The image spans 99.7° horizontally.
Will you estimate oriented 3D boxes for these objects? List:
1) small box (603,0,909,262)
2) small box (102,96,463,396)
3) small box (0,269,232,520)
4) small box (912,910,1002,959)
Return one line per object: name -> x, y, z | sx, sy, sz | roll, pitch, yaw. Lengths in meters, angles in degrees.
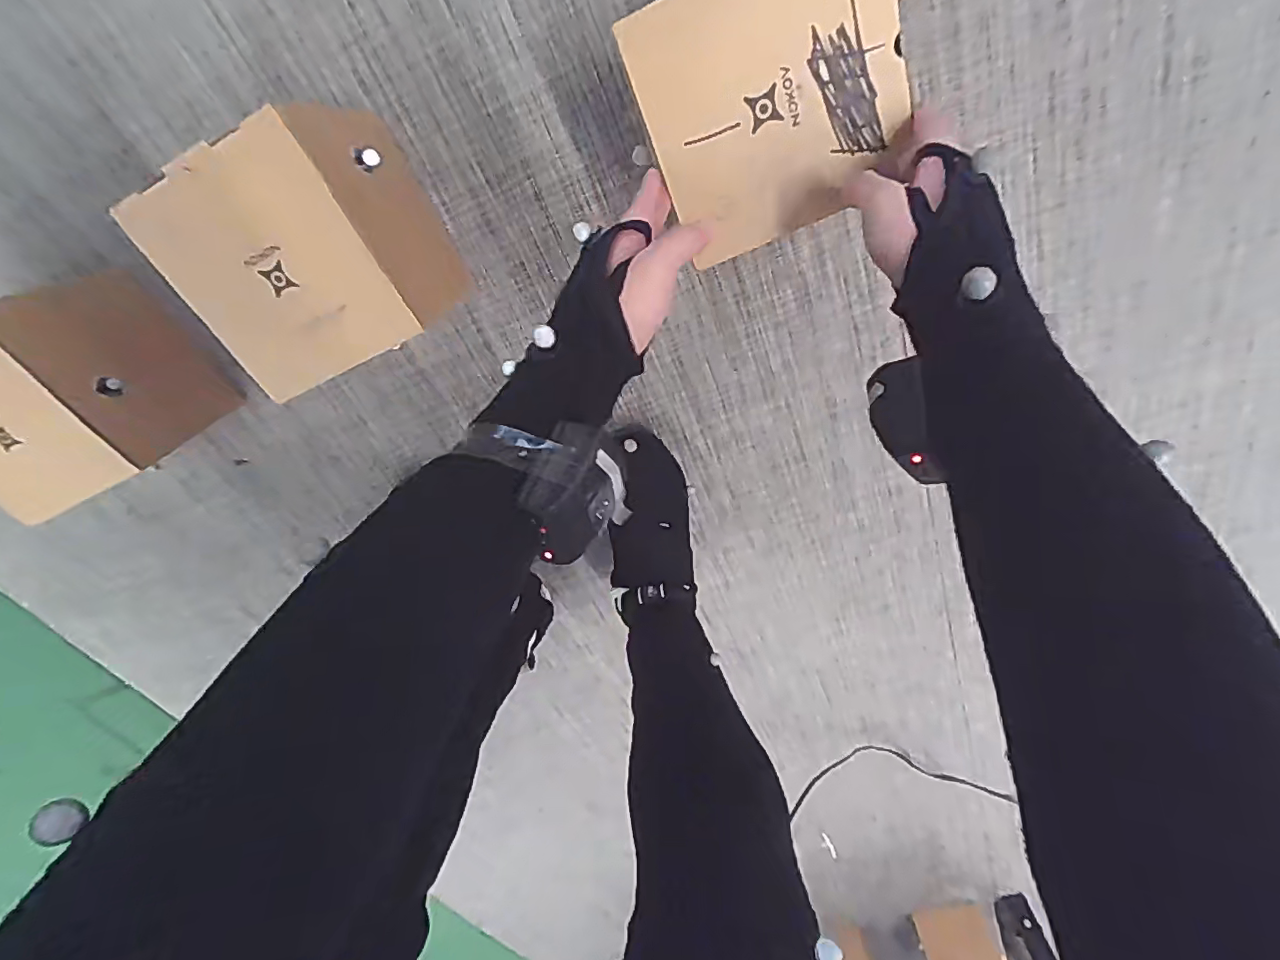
small box -> 0.084, -0.301, 0.431 | 0.179, 0.176, 0.168 | -18, 119, 13
small box -> -0.294, -0.209, 0.493 | 0.168, 0.176, 0.179 | -21, 120, 13
small box -> -0.592, -0.093, 0.565 | 0.168, 0.176, 0.179 | -21, 119, 12
small box -> 0.831, 1.238, 1.387 | 0.179, 0.176, 0.168 | -21, 119, 13
